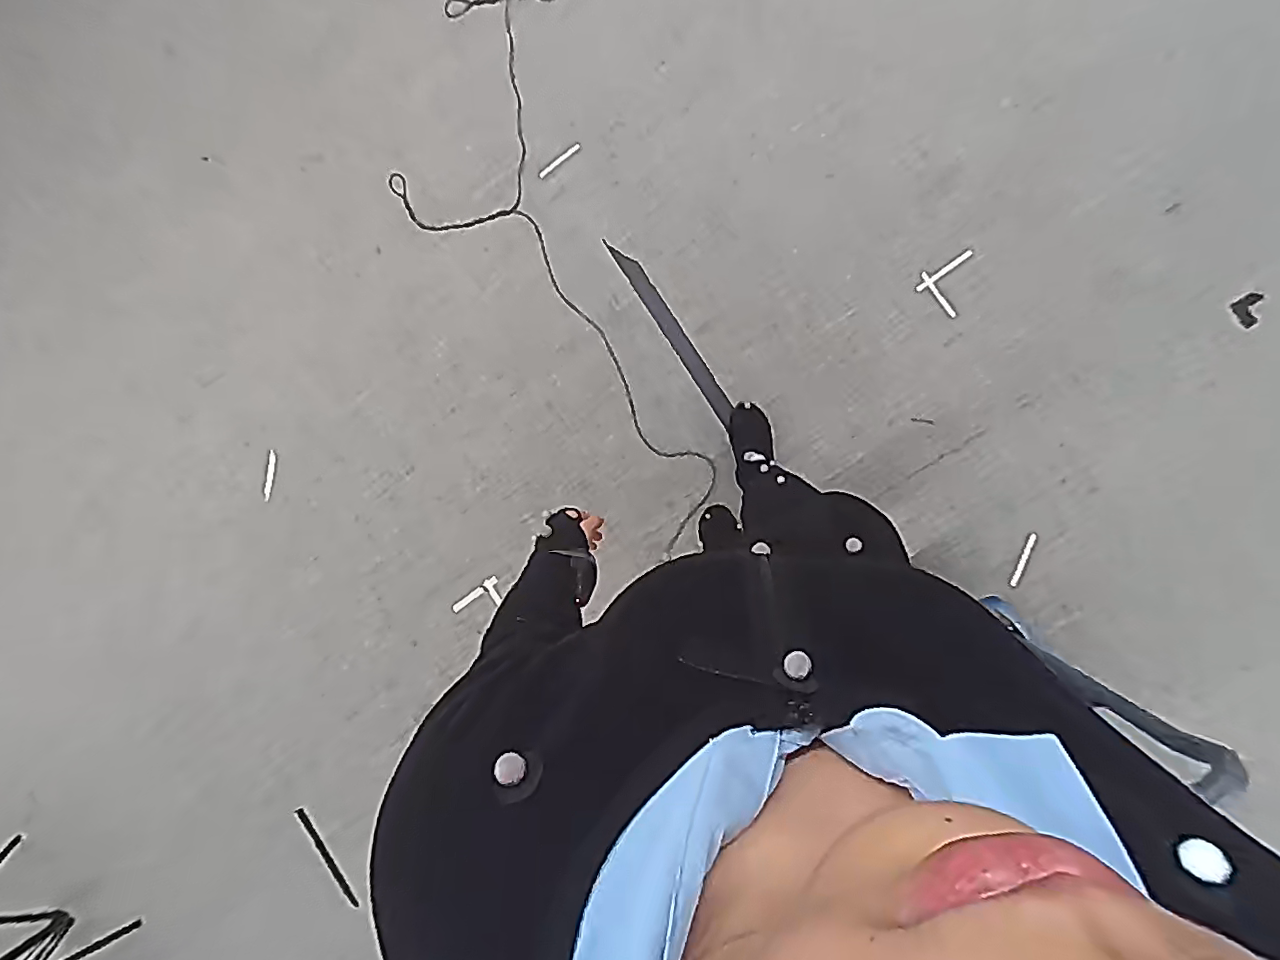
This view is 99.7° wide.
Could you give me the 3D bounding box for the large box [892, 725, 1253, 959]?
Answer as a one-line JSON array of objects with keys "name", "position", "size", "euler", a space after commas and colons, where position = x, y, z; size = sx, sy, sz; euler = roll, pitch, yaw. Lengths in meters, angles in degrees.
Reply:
[{"name": "large box", "position": [0.805, 0.782, 1.088], "size": [0.408, 0.320, 0.320], "euler": [-34, 86, 9]}]
